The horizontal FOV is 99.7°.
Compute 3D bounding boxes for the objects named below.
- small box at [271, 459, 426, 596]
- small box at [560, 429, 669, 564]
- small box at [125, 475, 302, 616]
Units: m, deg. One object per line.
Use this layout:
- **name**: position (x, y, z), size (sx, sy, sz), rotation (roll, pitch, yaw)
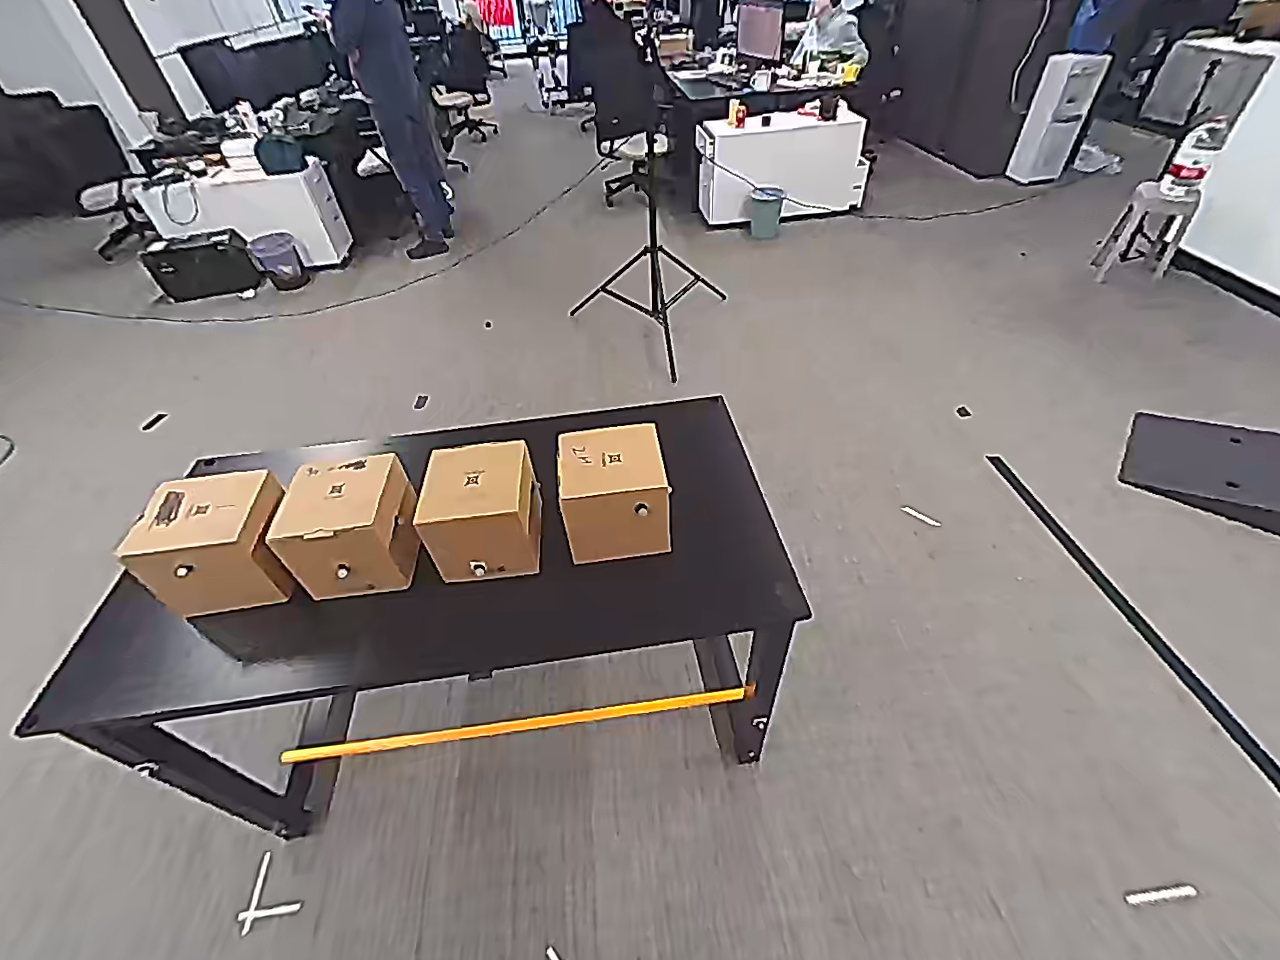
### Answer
- **small box**: position (-0.493, 0.089, 0.949), size (0.168, 0.176, 0.179), rotation (-7, 45, -2)
- **small box**: position (-0.045, 0.031, 0.970), size (0.179, 0.176, 0.168), rotation (-7, 44, -2)
- **small box**: position (-0.706, 0.117, 0.937), size (0.179, 0.176, 0.168), rotation (-8, 45, -5)
